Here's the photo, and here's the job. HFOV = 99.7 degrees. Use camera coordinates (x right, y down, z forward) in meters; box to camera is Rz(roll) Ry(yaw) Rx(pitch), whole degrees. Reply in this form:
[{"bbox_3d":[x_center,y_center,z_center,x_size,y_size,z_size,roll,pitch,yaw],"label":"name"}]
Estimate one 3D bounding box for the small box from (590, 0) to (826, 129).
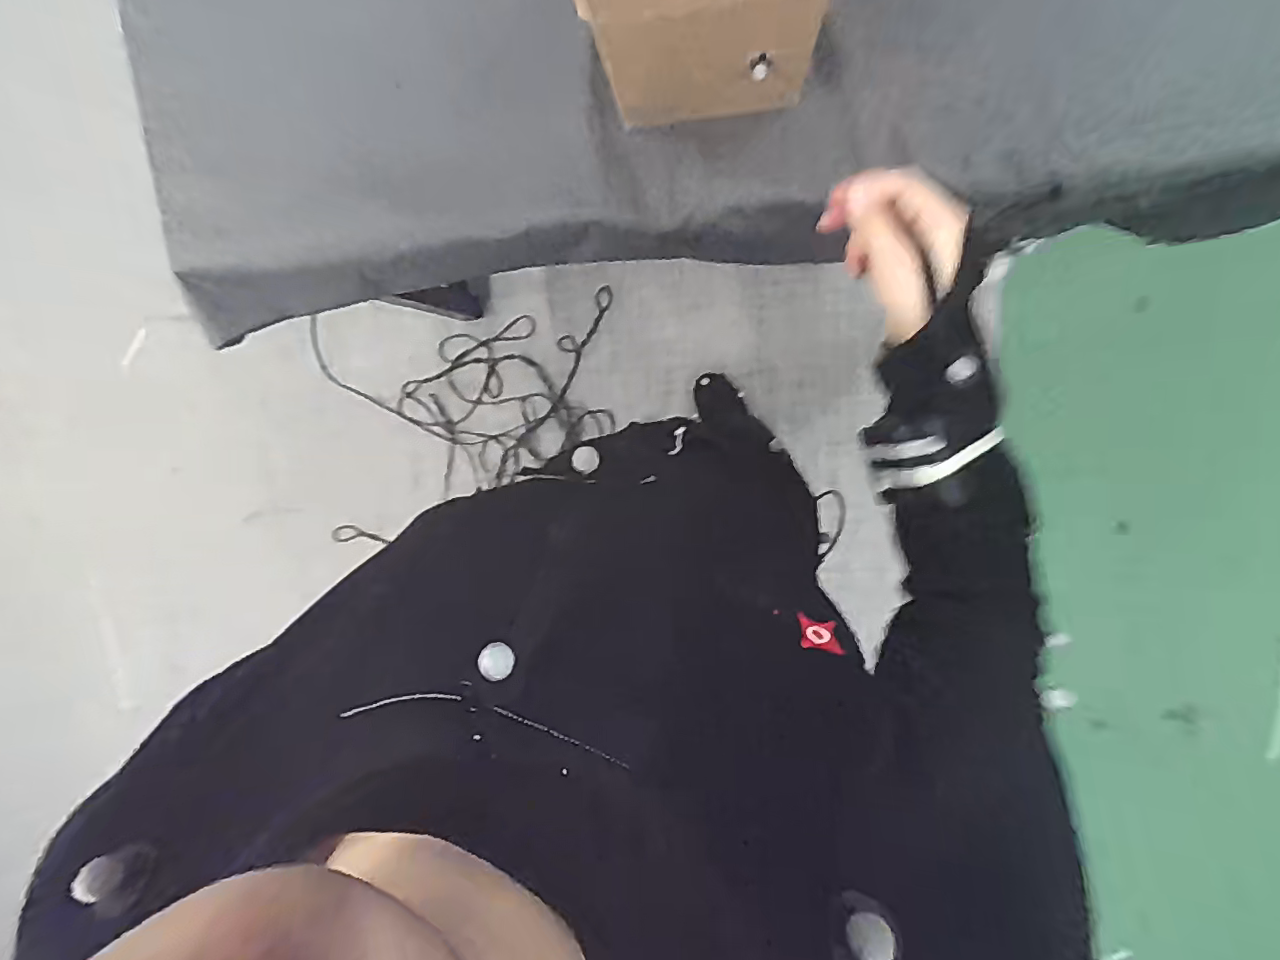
[{"bbox_3d":[0.054,-0.433,0.460,0.179,0.176,0.168,-3,98,9],"label":"small box"}]
